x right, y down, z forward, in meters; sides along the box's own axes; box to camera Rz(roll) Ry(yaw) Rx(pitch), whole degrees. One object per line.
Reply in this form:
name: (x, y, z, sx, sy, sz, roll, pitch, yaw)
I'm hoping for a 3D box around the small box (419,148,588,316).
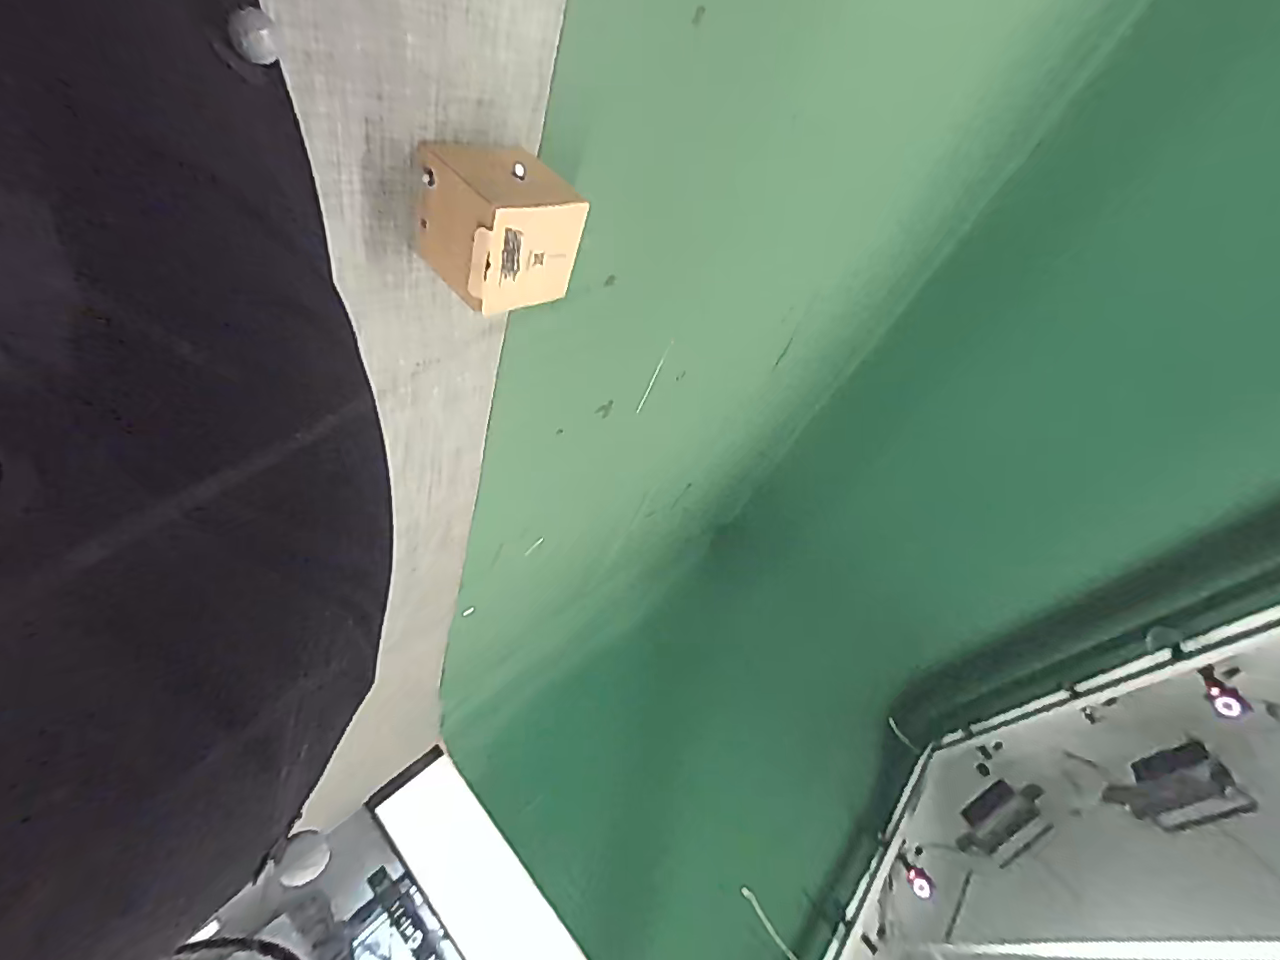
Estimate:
small box: (-0.214, -0.378, 0.820, 0.179, 0.176, 0.168, -30, 157, -41)
